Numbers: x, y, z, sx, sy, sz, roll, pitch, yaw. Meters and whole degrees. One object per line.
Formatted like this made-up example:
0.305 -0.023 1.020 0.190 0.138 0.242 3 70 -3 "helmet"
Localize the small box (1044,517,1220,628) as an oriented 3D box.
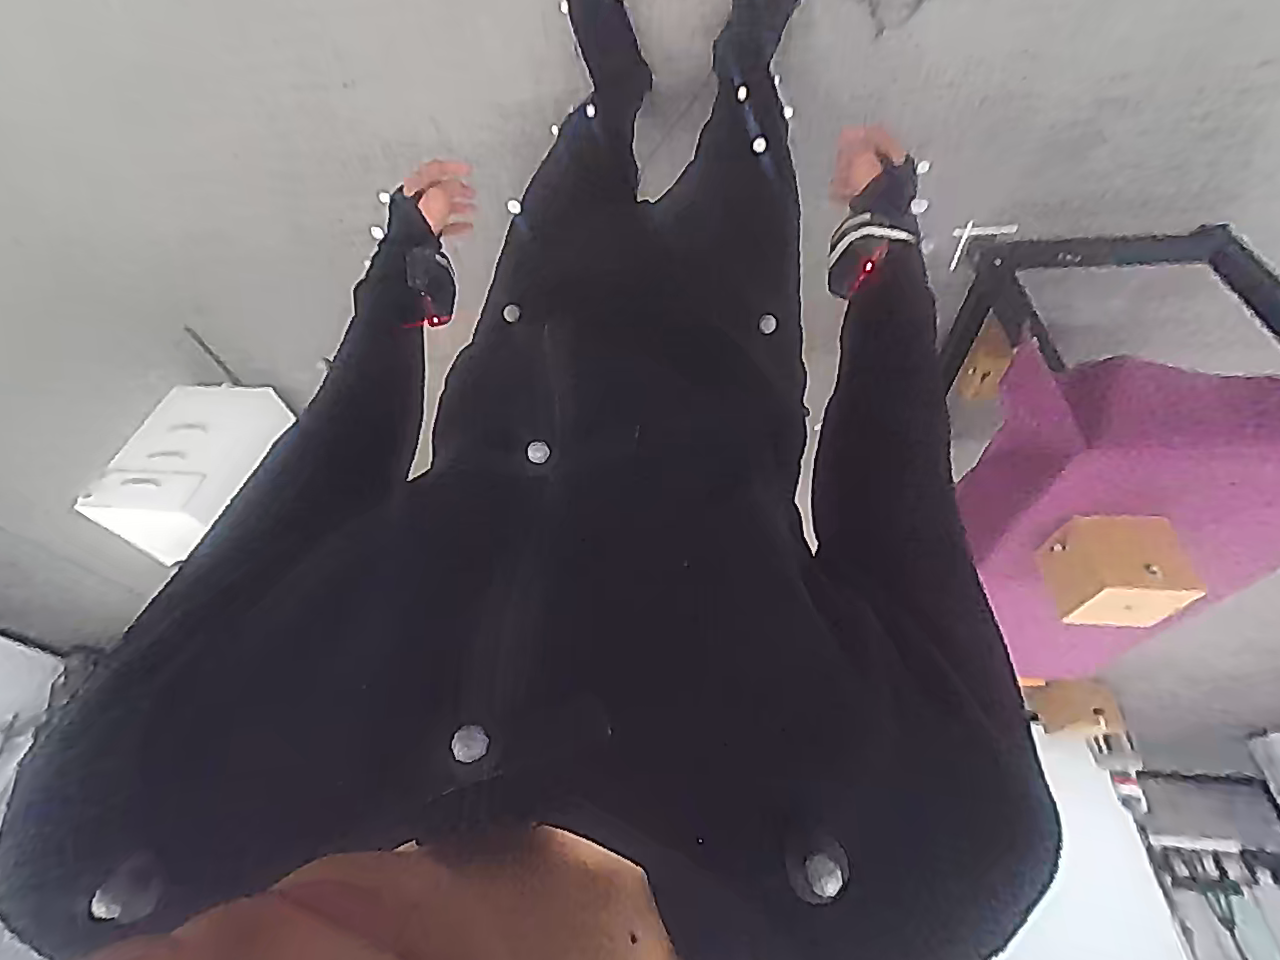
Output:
0.971 0.185 1.088 0.179 0.176 0.168 2 144 7 "small box"
